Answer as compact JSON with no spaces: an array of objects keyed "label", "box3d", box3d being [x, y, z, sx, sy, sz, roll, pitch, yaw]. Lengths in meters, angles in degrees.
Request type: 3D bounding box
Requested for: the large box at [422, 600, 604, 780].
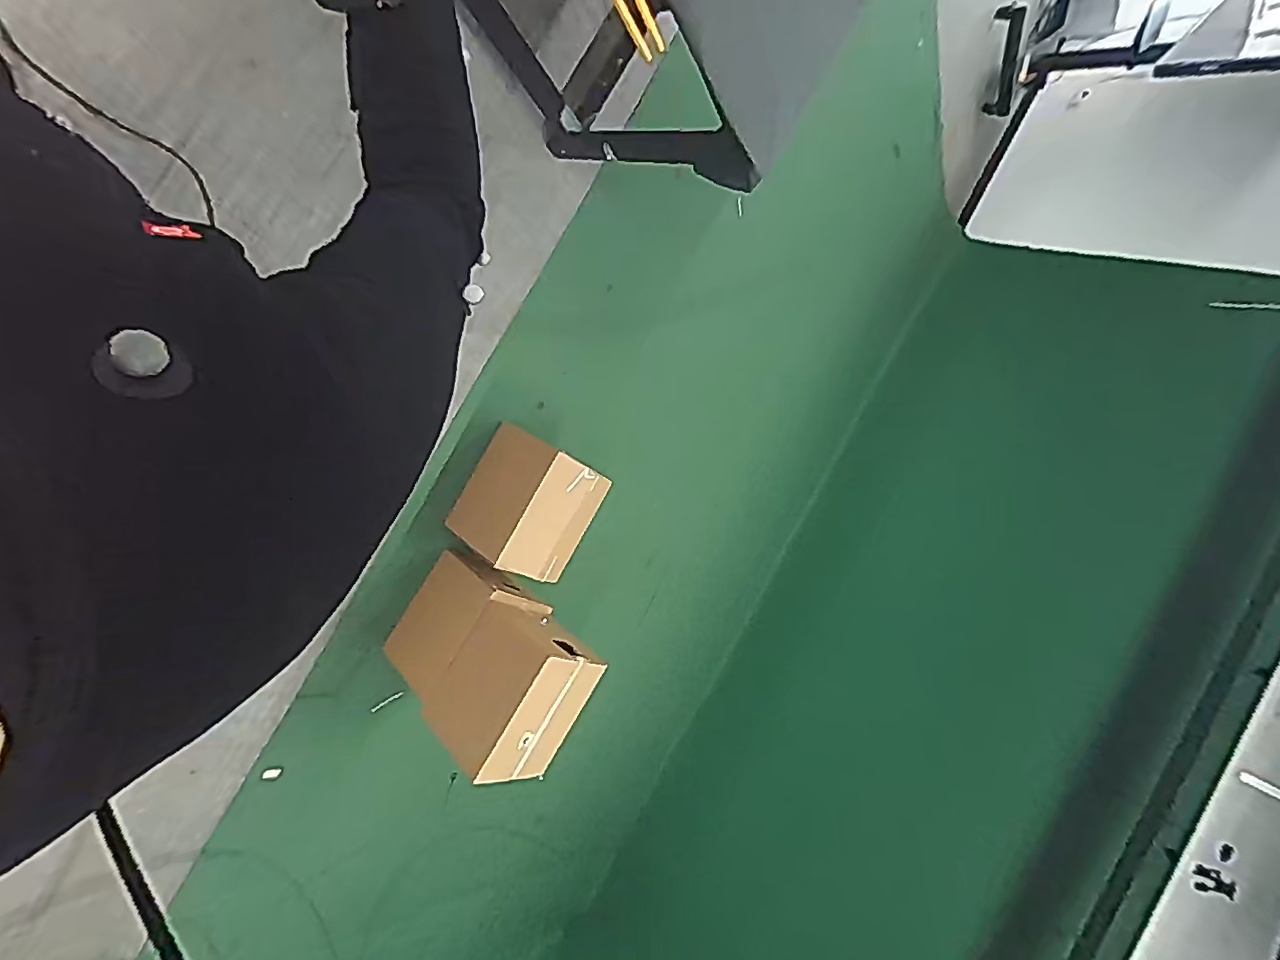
[{"label":"large box","box3d":[-0.391,0.642,1.687,0.408,0.320,0.320,-58,143,-4]}]
